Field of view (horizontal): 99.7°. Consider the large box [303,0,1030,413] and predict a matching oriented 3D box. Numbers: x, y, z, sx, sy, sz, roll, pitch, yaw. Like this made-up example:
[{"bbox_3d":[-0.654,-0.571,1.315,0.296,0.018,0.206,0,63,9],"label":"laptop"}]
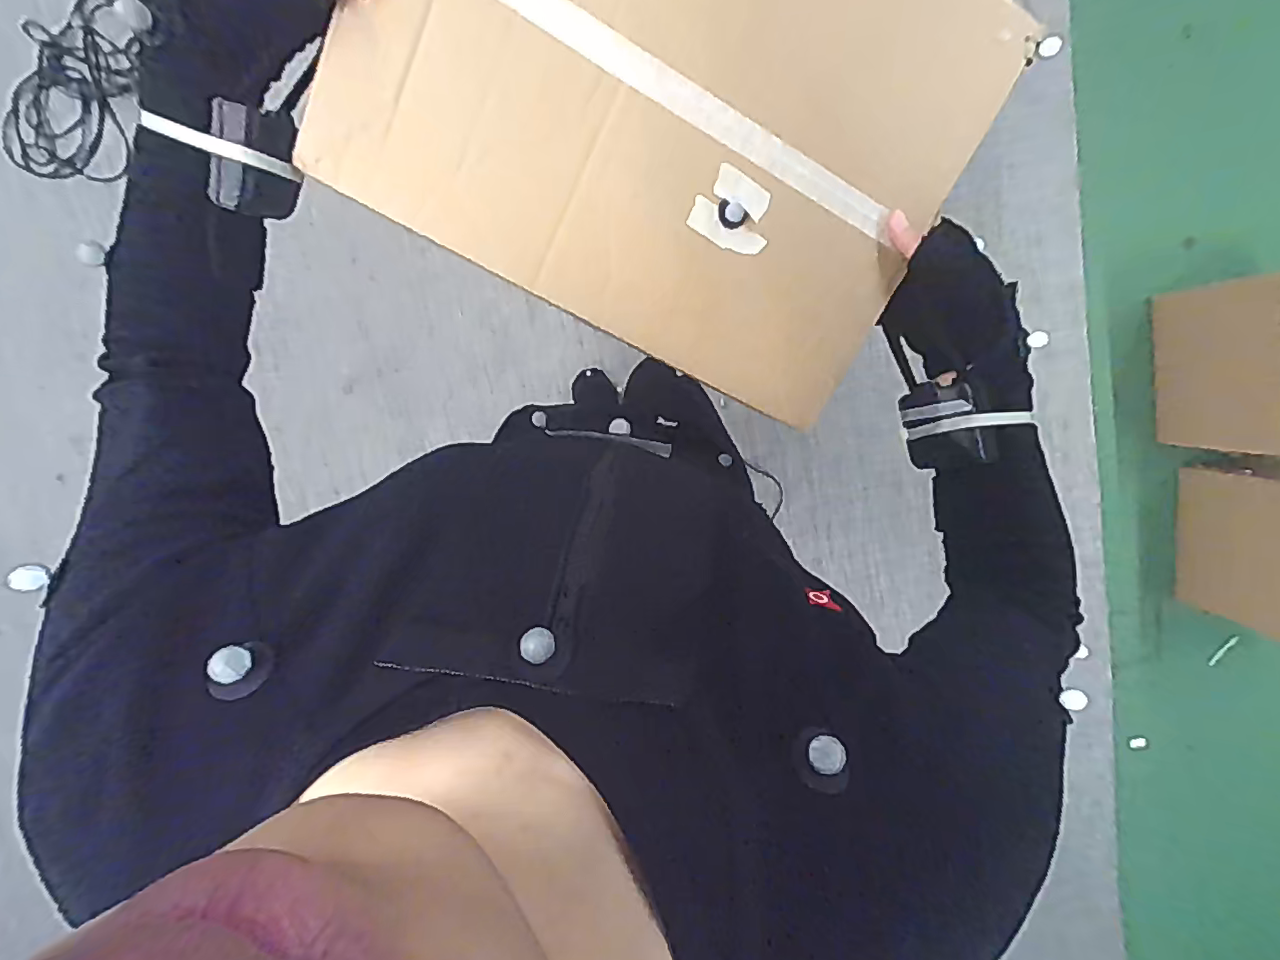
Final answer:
[{"bbox_3d":[0.007,-0.304,0.495,0.408,0.320,0.320,24,104,-14],"label":"large box"}]
